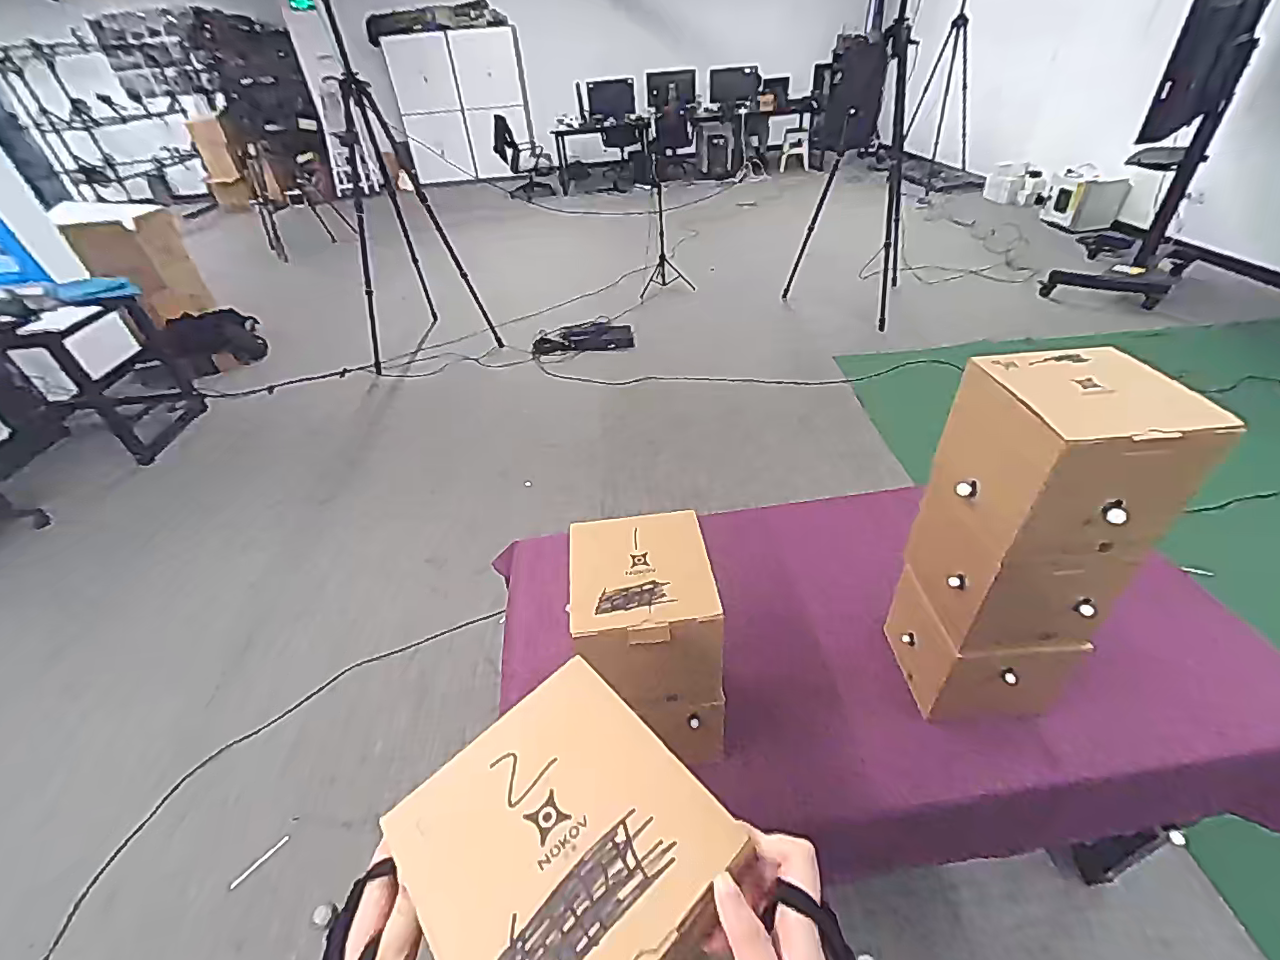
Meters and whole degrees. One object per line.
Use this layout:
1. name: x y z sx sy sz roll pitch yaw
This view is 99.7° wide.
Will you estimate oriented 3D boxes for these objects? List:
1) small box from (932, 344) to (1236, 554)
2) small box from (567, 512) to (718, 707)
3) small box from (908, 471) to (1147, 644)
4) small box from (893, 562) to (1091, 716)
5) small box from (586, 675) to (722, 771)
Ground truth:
1. small box: 0.460 -0.031 0.601 0.168 0.176 0.179 -4 39 1
2. small box: 0.004 0.167 0.685 0.168 0.176 0.179 -7 37 -2
3. small box: 0.477 0.098 0.702 0.168 0.176 0.179 -4 38 2
4. small box: 0.492 0.230 0.796 0.179 0.176 0.168 -4 39 3
5. small box: 0.020 0.298 0.783 0.179 0.176 0.168 -7 38 -1
